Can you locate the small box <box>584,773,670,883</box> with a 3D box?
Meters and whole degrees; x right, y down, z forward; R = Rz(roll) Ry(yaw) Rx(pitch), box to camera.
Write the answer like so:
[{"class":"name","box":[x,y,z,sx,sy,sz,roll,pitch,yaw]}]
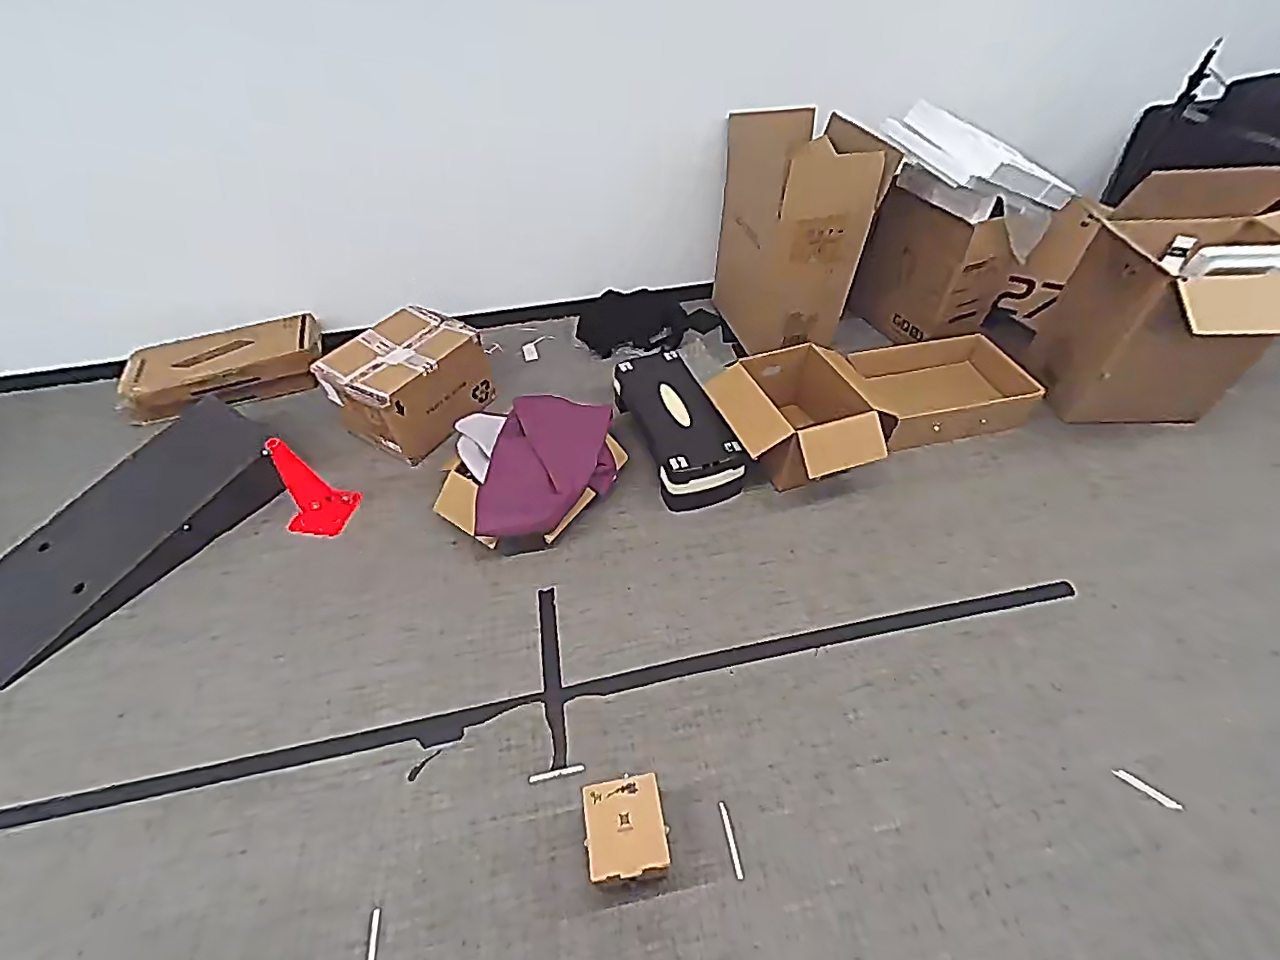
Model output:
[{"class":"small box","box":[-0.027,0.779,1.205,0.168,0.176,0.179,-8,50,-5]}]
